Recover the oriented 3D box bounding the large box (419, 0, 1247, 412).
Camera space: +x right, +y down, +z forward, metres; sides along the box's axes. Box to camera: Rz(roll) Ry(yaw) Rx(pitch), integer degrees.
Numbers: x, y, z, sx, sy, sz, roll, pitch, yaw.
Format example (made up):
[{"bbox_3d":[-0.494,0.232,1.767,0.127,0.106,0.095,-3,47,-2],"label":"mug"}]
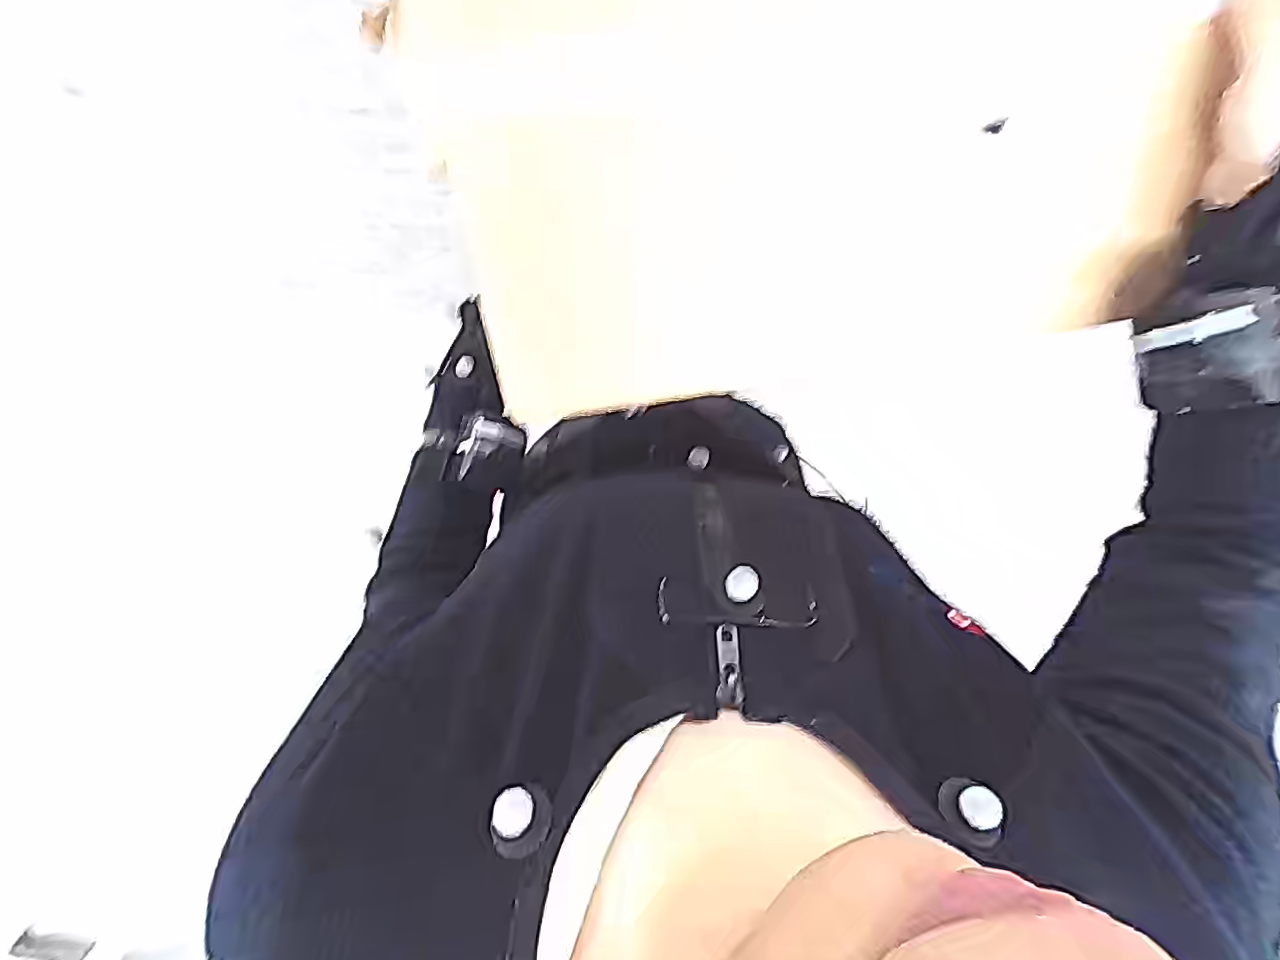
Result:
[{"bbox_3d":[0.082,-0.276,0.385,0.408,0.320,0.320,-11,119,-4],"label":"large box"}]
